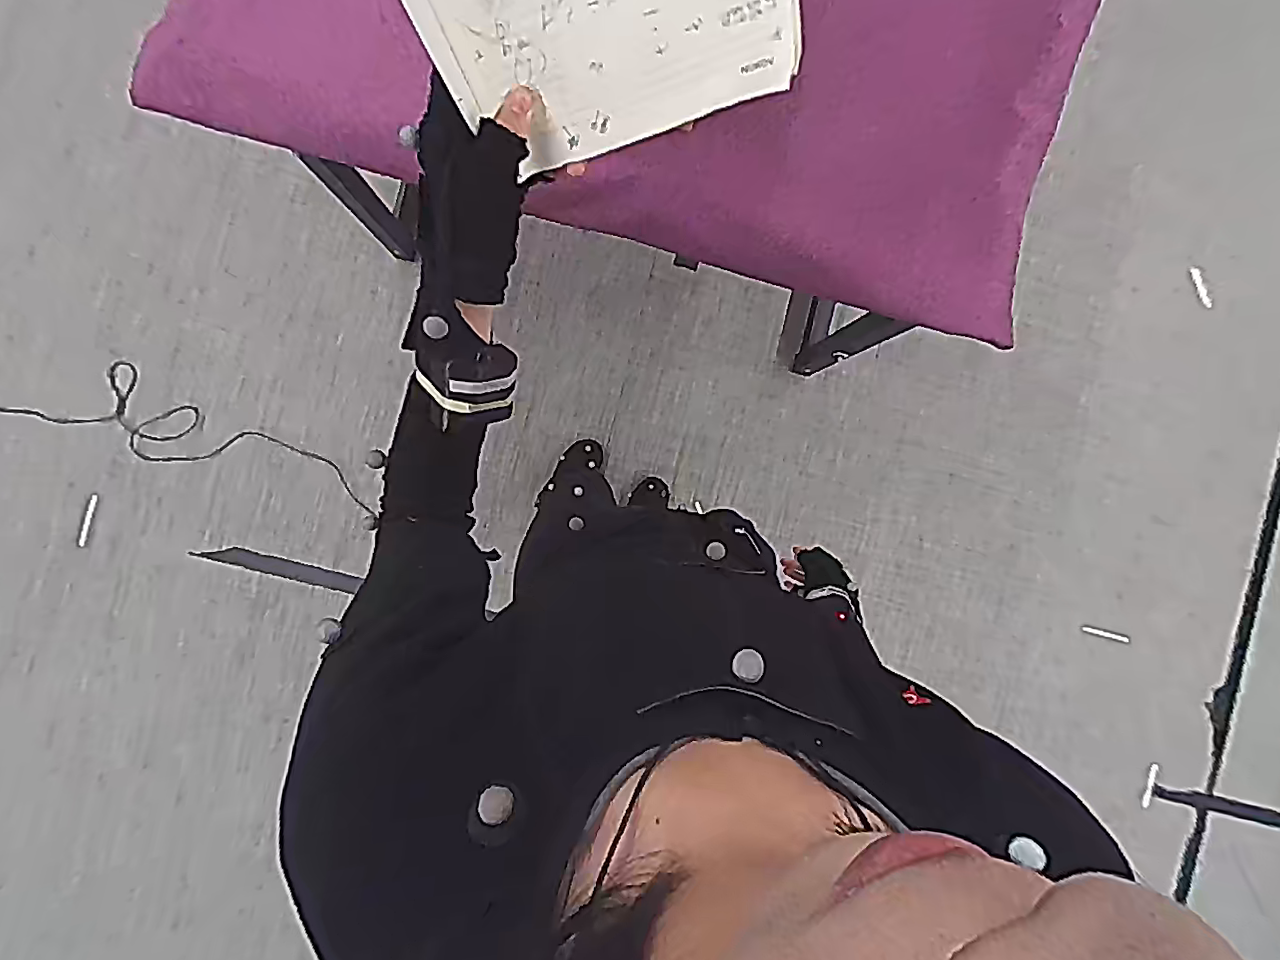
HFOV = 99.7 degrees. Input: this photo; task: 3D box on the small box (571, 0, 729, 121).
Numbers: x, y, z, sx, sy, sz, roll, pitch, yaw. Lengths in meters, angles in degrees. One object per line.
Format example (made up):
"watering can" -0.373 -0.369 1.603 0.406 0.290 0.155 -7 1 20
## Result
"small box" 0.018 -0.603 0.691 0.179 0.176 0.168 14 89 -5
